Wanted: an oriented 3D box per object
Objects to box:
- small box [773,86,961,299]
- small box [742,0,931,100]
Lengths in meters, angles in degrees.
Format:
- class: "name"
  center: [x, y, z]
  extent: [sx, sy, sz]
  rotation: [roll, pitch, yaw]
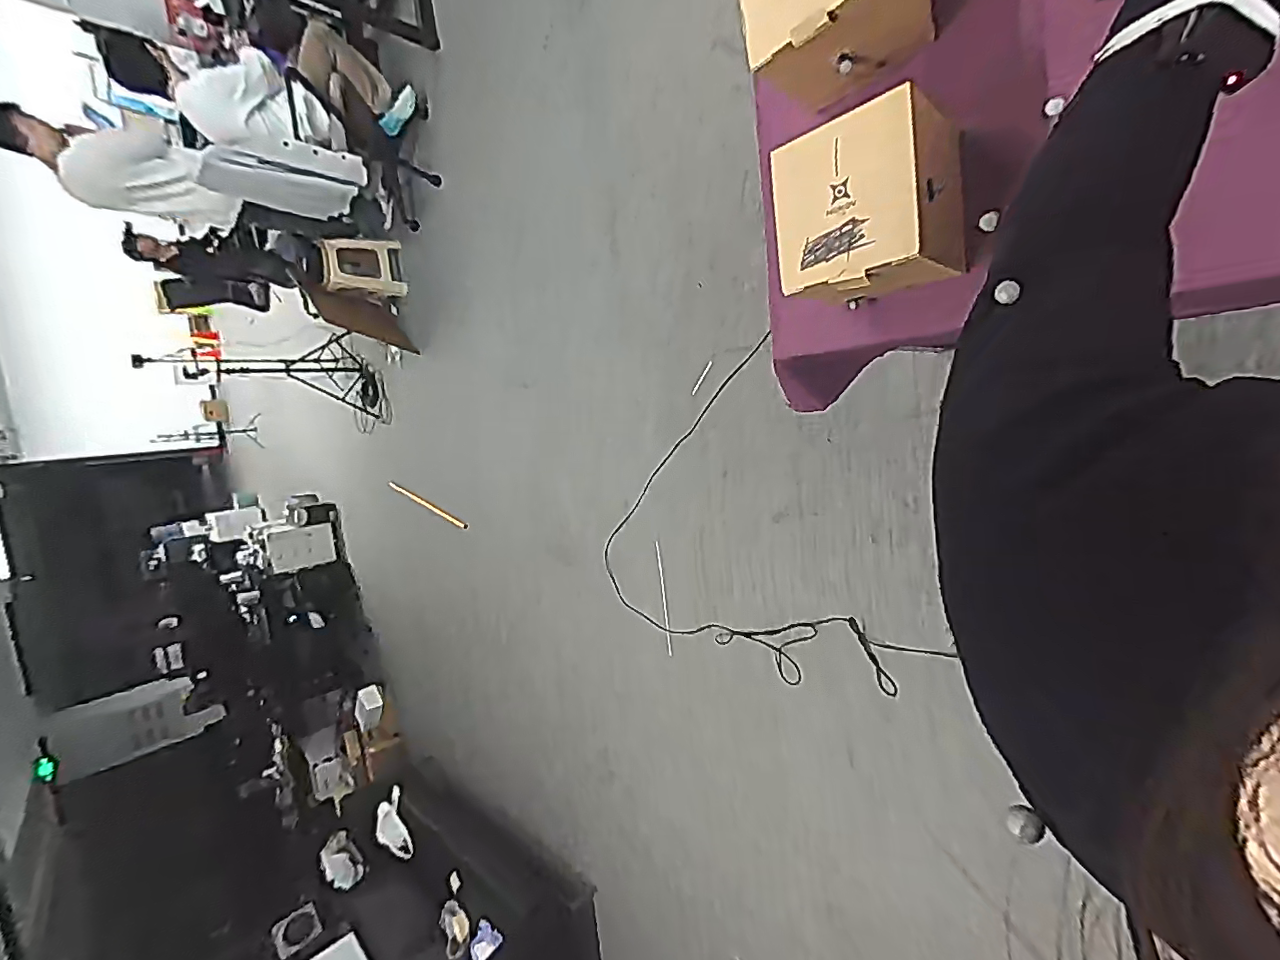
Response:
- class: "small box"
  center: [0.288, -0.334, 0.678]
  extent: [0.168, 0.176, 0.179]
  rotation: [-1, 96, 45]
- class: "small box"
  center: [0.240, -0.609, 0.667]
  extent: [0.168, 0.176, 0.179]
  rotation: [-5, 96, 46]
